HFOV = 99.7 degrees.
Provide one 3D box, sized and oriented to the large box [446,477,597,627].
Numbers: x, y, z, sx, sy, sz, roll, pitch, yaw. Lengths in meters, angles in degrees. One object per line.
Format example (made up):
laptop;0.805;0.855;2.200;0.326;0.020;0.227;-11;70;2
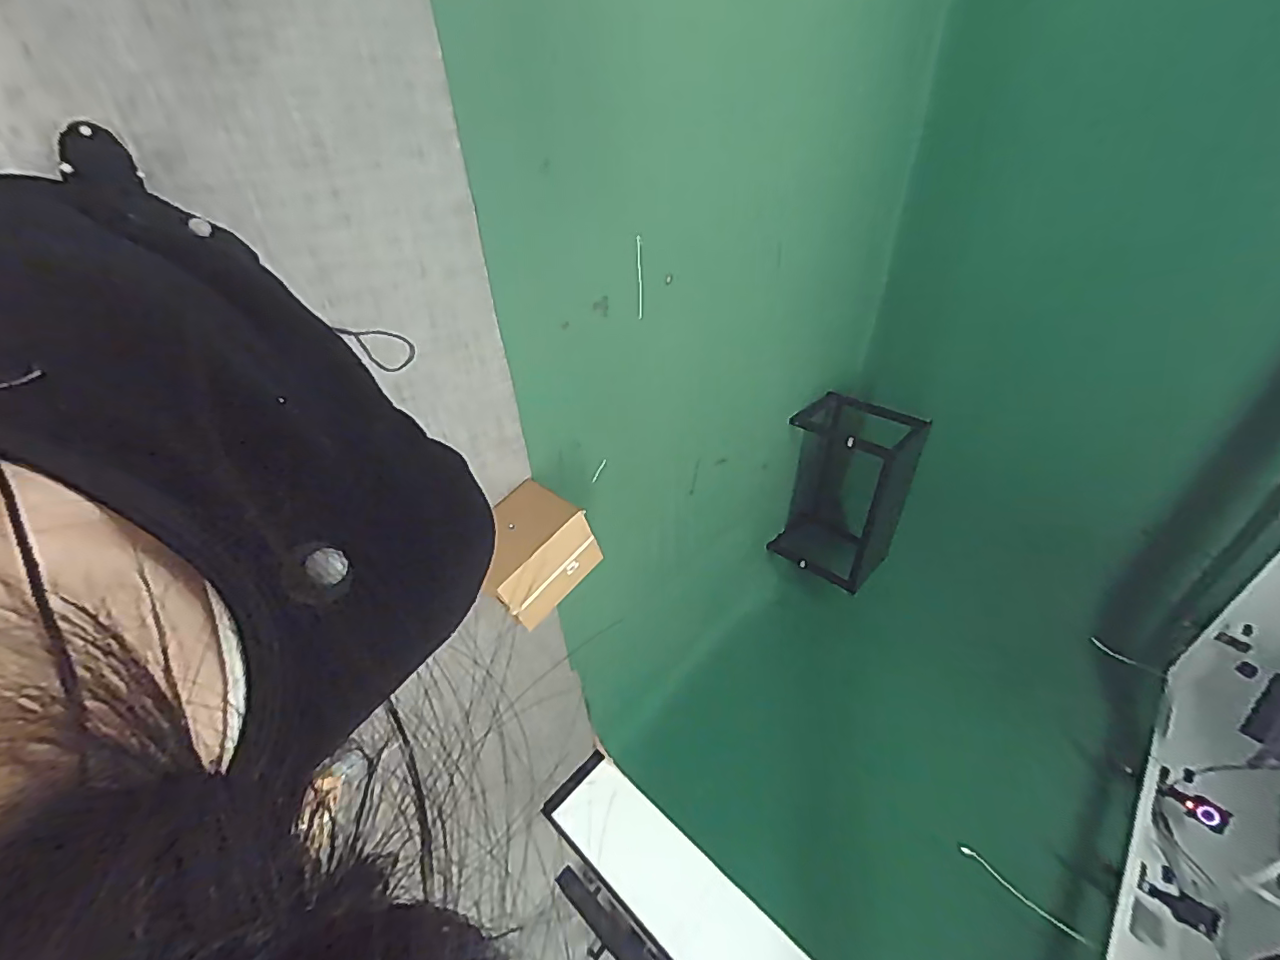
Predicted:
large box;-0.436;0.264;2.043;0.408;0.320;0.320;-46;144;-24
